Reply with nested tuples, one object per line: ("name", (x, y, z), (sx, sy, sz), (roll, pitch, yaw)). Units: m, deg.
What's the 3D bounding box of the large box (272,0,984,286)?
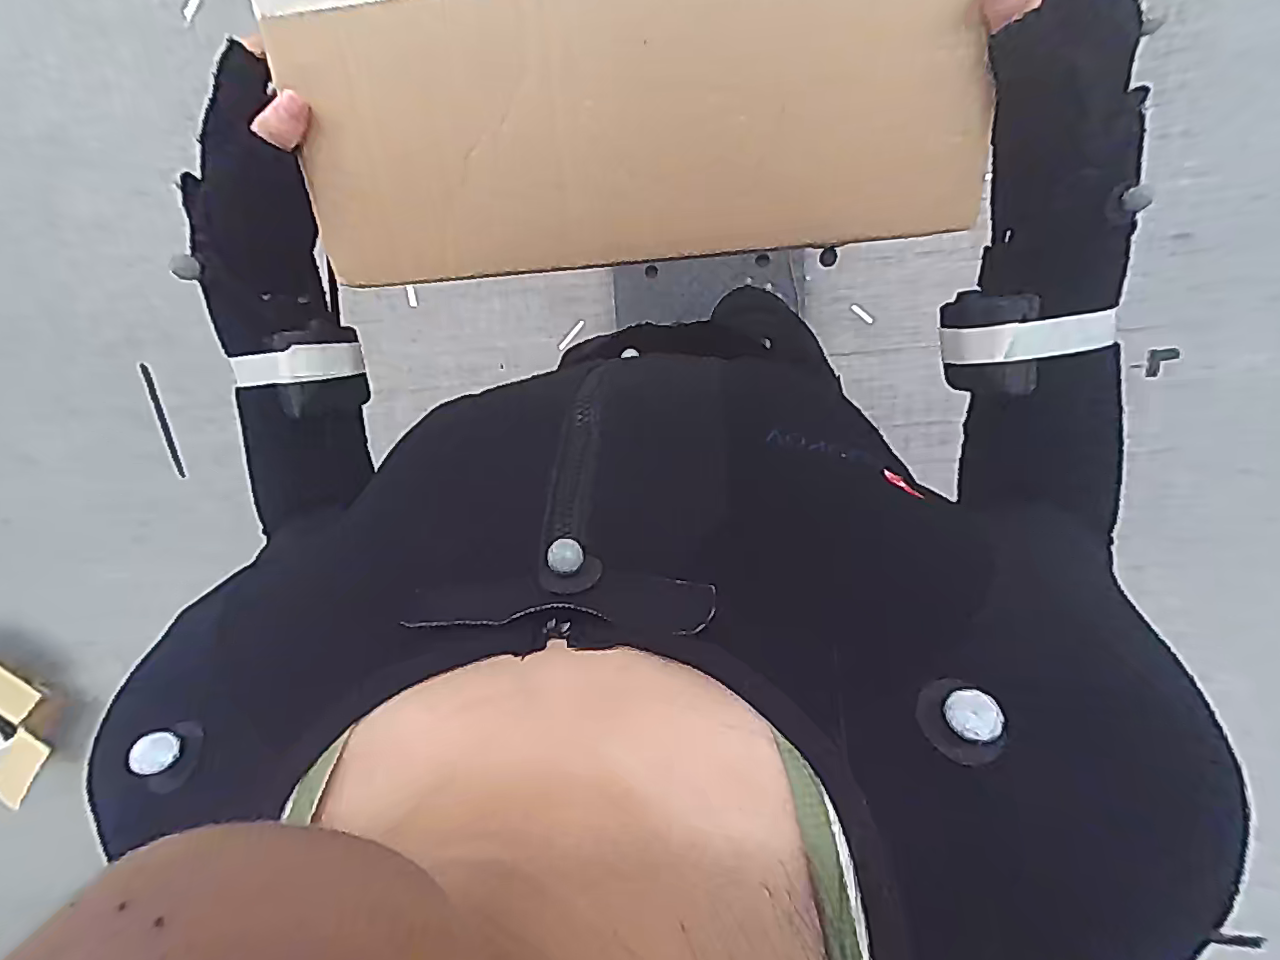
("large box", (-0.003, -0.348, 0.426), (0.408, 0.320, 0.320), (-3, 114, 6))
